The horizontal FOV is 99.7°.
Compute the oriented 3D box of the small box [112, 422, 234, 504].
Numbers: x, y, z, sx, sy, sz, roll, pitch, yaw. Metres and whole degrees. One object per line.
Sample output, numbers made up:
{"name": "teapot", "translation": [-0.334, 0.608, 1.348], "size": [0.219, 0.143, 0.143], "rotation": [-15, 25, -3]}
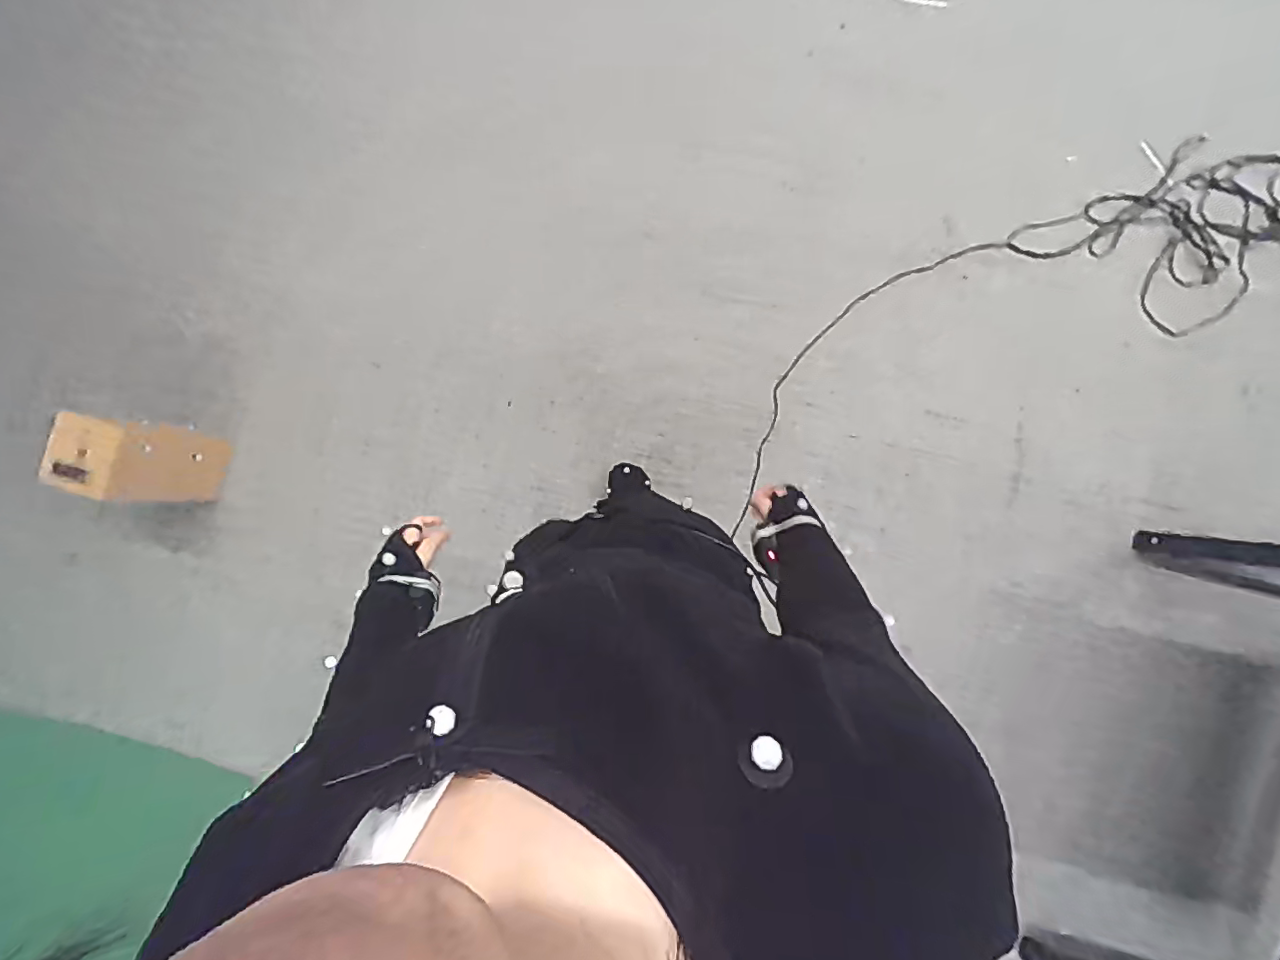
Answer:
{"name": "small box", "translation": [-1.269, -0.044, 1.484], "size": [0.168, 0.176, 0.179], "rotation": [18, 91, 3]}
